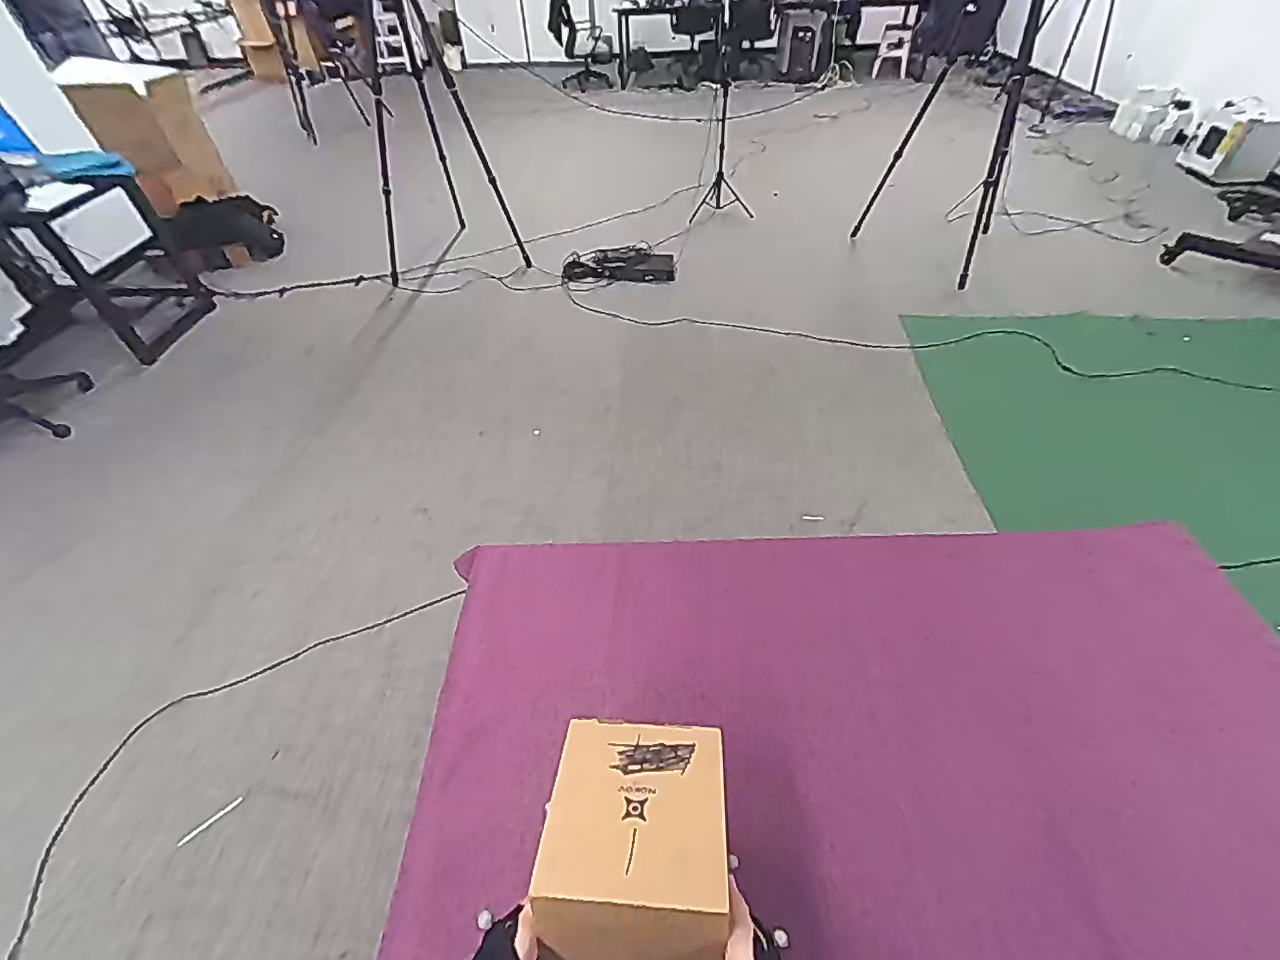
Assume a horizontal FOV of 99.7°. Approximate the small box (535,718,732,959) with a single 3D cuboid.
[{"bbox_3d":[0.002,0.375,0.546,0.168,0.176,0.179,2,28,5],"label":"small box"}]
